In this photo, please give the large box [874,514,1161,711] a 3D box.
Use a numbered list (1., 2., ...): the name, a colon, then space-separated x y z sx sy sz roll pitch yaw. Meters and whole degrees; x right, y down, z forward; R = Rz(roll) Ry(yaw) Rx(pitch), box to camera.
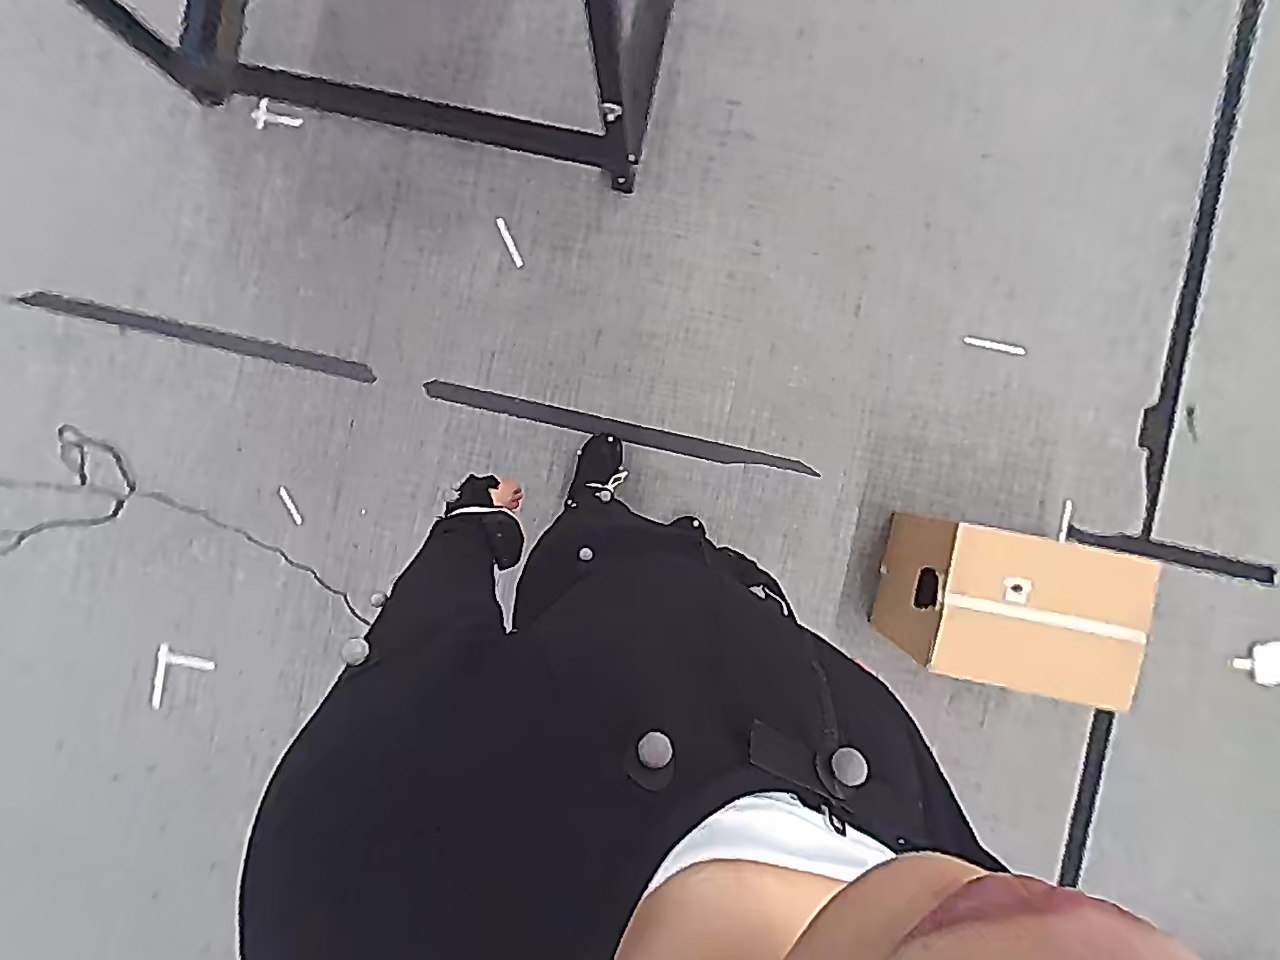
1. large box: 0.809 0.272 1.219 0.408 0.320 0.320 11 91 3
